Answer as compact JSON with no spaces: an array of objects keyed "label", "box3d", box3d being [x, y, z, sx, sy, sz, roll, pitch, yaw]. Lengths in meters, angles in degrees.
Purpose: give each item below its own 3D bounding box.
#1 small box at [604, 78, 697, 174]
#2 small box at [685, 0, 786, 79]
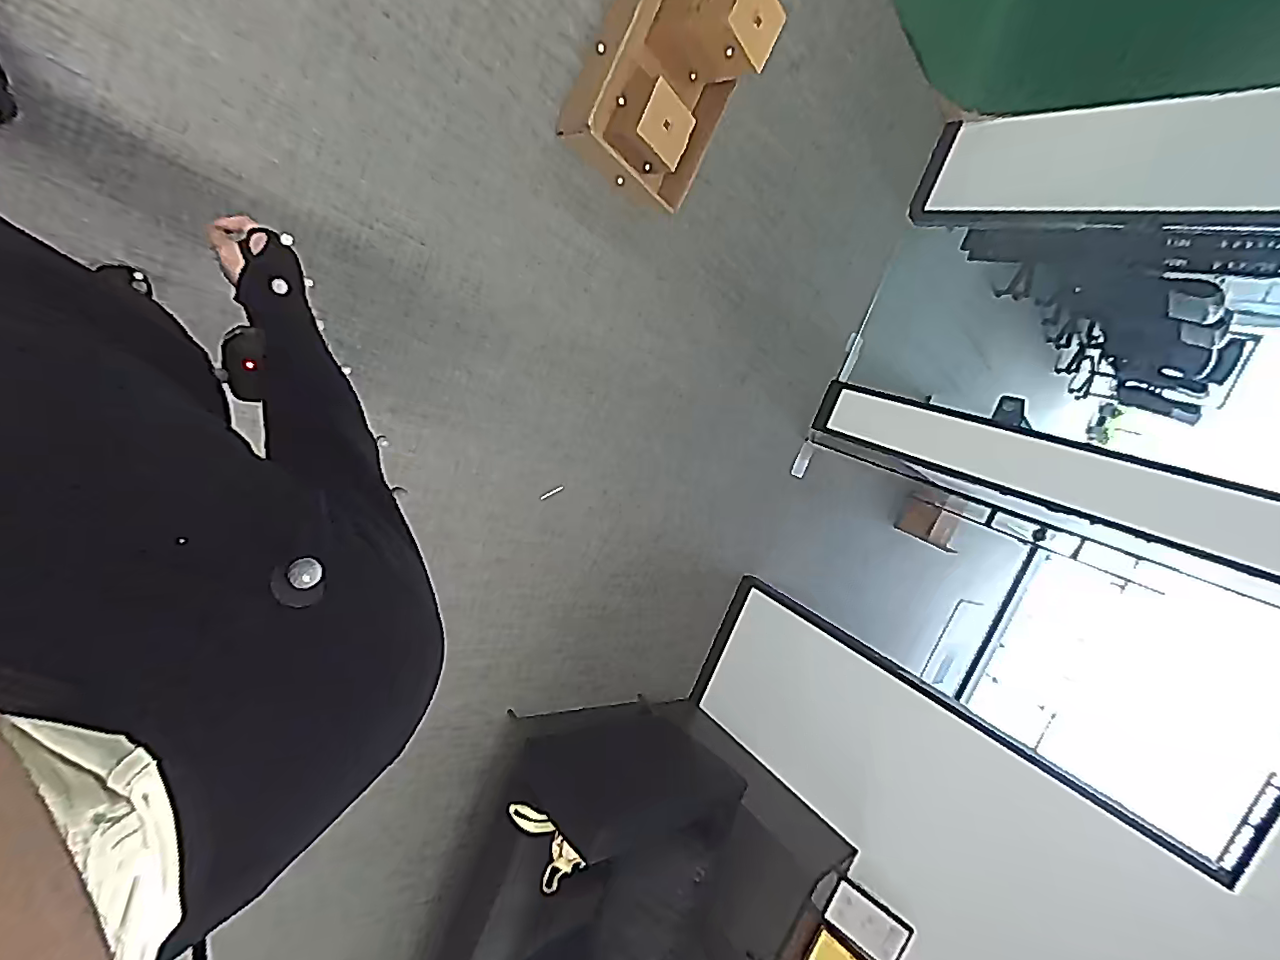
[{"label":"small box","box3d":[0.029,-1.038,1.602,0.179,0.176,0.168,22,95,-45]},{"label":"small box","box3d":[0.258,-1.236,1.472,0.179,0.176,0.168,22,96,-46]}]
